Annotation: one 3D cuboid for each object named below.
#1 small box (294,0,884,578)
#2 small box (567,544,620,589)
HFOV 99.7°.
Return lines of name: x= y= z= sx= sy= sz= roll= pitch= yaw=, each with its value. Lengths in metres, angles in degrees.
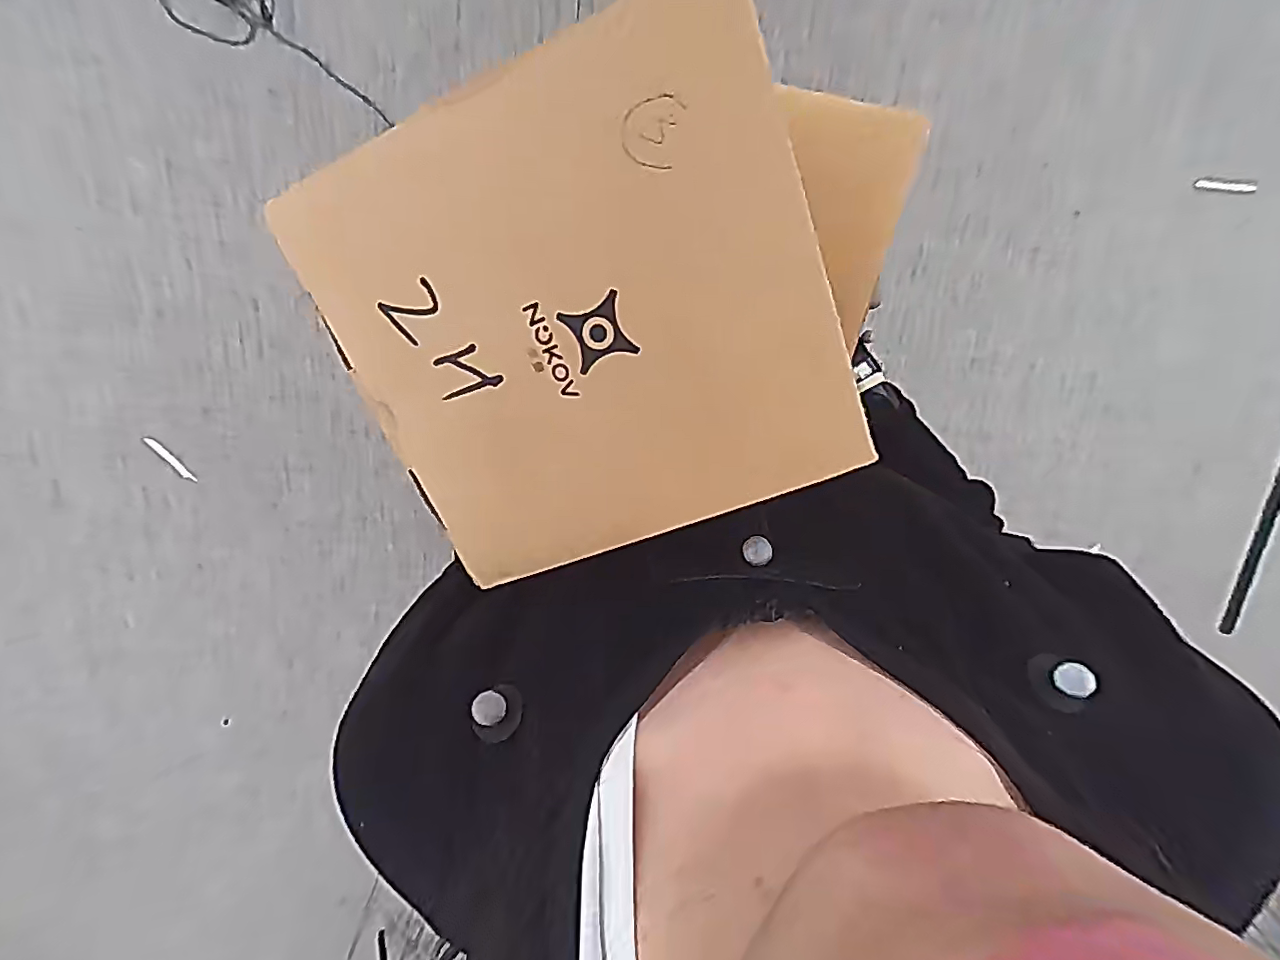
small box: x=-0.008 y=-0.083 z=0.271 sx=0.179 sy=0.176 sz=0.168 roll=-19 pitch=109 yaw=13
small box: x=-0.142 y=0.201 z=1.170 sx=0.179 sy=0.176 sz=0.168 roll=12 pitch=103 yaw=-3
